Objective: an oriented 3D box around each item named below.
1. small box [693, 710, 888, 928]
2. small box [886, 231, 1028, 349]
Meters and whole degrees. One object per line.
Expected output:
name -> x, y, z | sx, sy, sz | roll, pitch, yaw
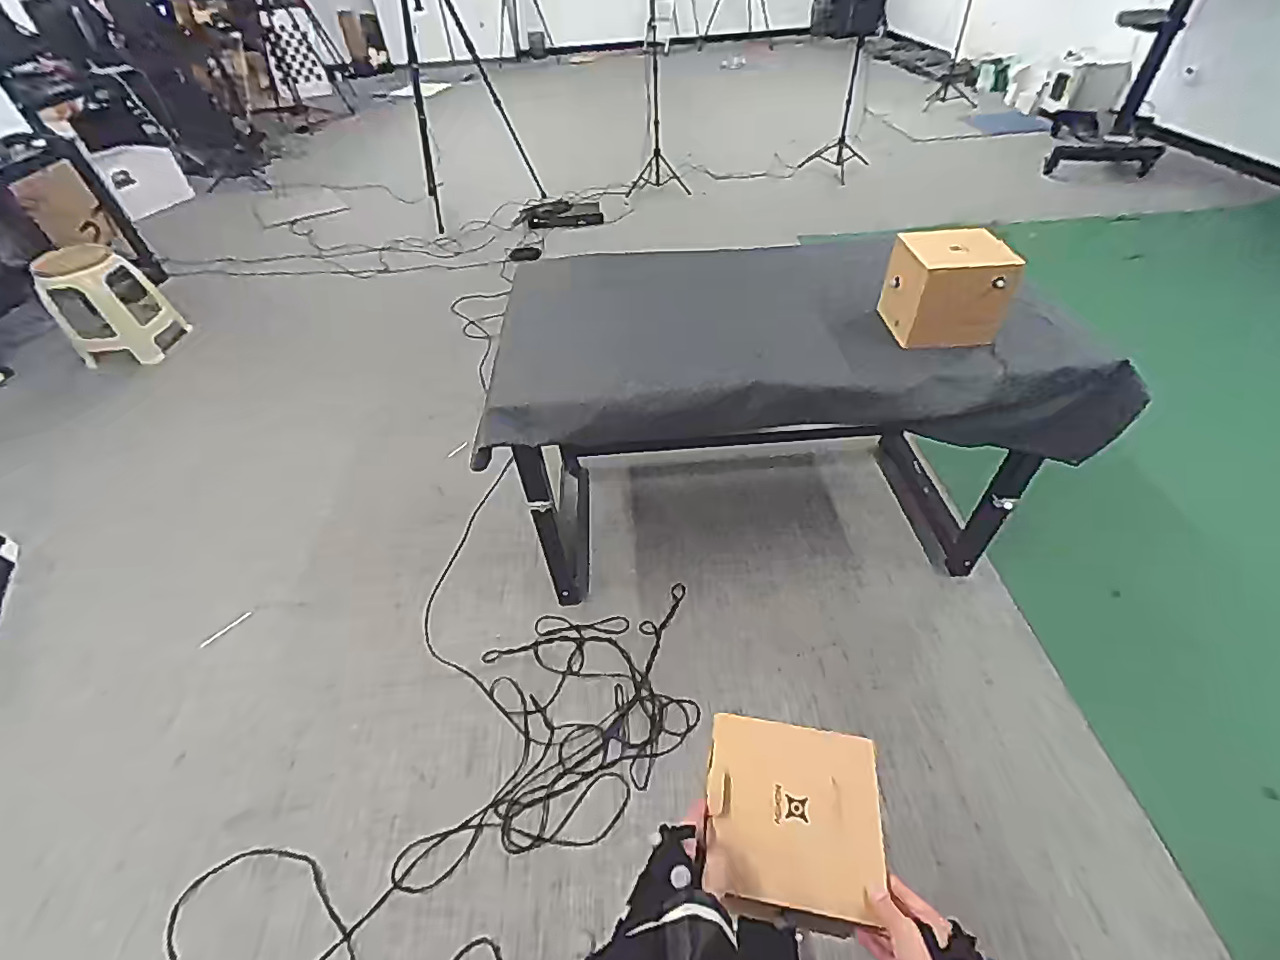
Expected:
small box -> 0.156, 0.383, 0.608 | 0.179, 0.176, 0.168 | 7, 49, 7
small box -> 0.605, -0.371, 1.066 | 0.179, 0.176, 0.168 | -2, 45, 2
